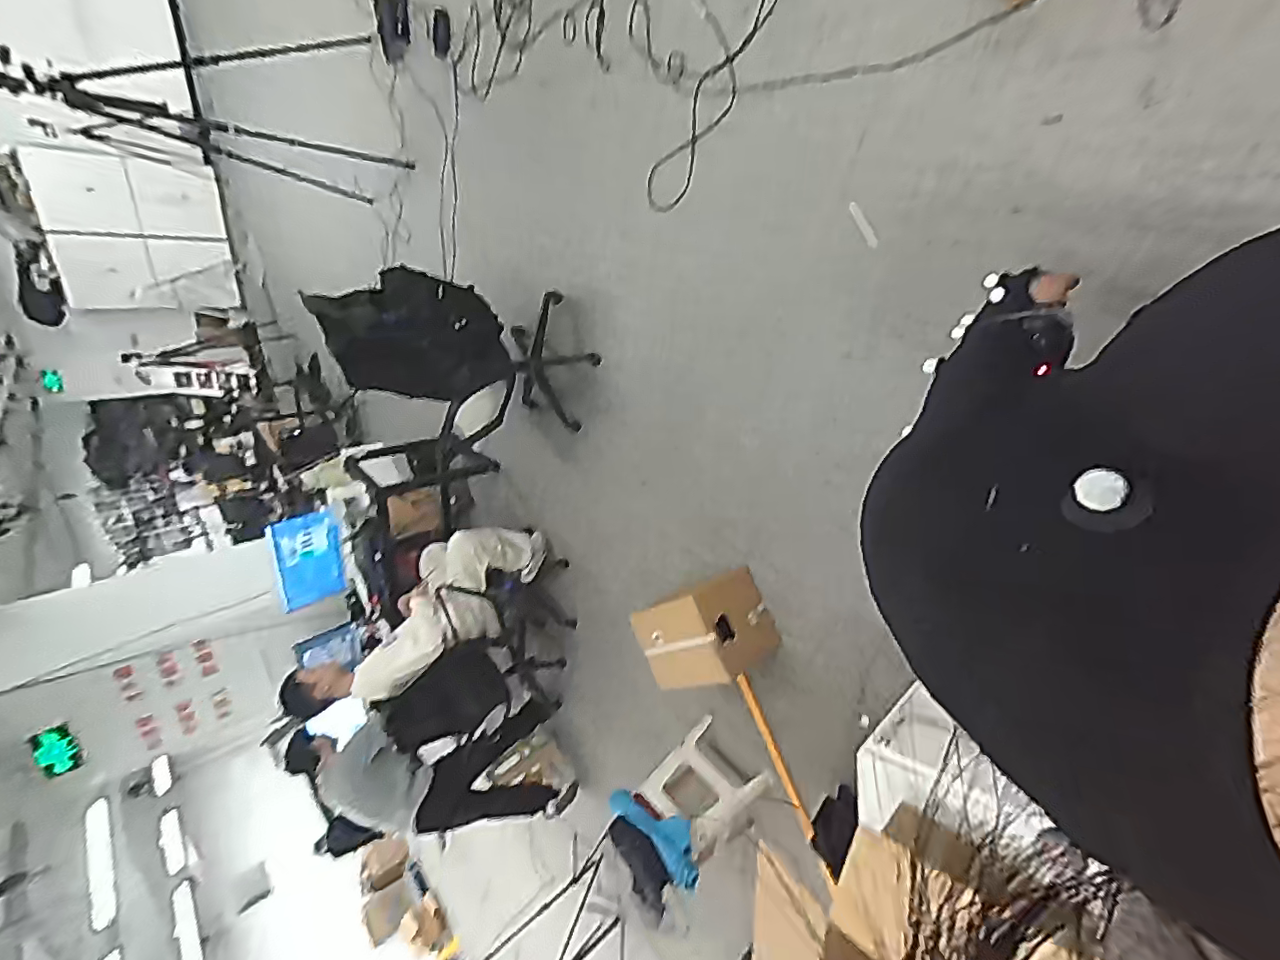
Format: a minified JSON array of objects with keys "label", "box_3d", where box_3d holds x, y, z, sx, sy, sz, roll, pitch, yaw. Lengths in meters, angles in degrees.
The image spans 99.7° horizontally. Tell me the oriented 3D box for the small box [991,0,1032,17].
[{"label":"small box","box_3d":[0.738,-1.041,1.017,0.179,0.176,0.168,-23,85,50]}]
